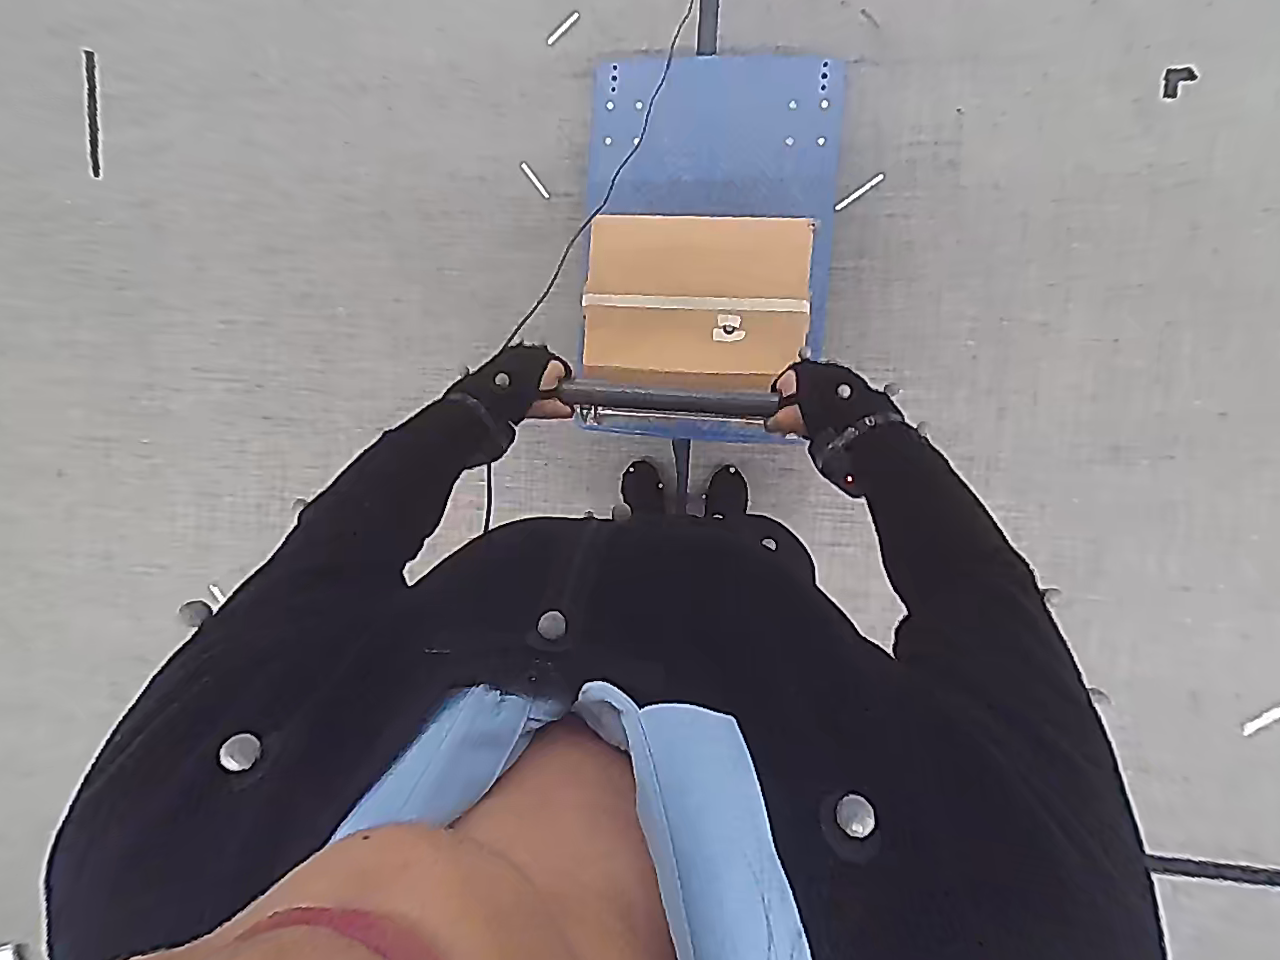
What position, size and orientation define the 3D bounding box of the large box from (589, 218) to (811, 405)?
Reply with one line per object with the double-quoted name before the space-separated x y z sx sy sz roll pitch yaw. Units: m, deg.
"large box" 0.120 -0.335 1.153 0.408 0.320 0.320 4 93 6
